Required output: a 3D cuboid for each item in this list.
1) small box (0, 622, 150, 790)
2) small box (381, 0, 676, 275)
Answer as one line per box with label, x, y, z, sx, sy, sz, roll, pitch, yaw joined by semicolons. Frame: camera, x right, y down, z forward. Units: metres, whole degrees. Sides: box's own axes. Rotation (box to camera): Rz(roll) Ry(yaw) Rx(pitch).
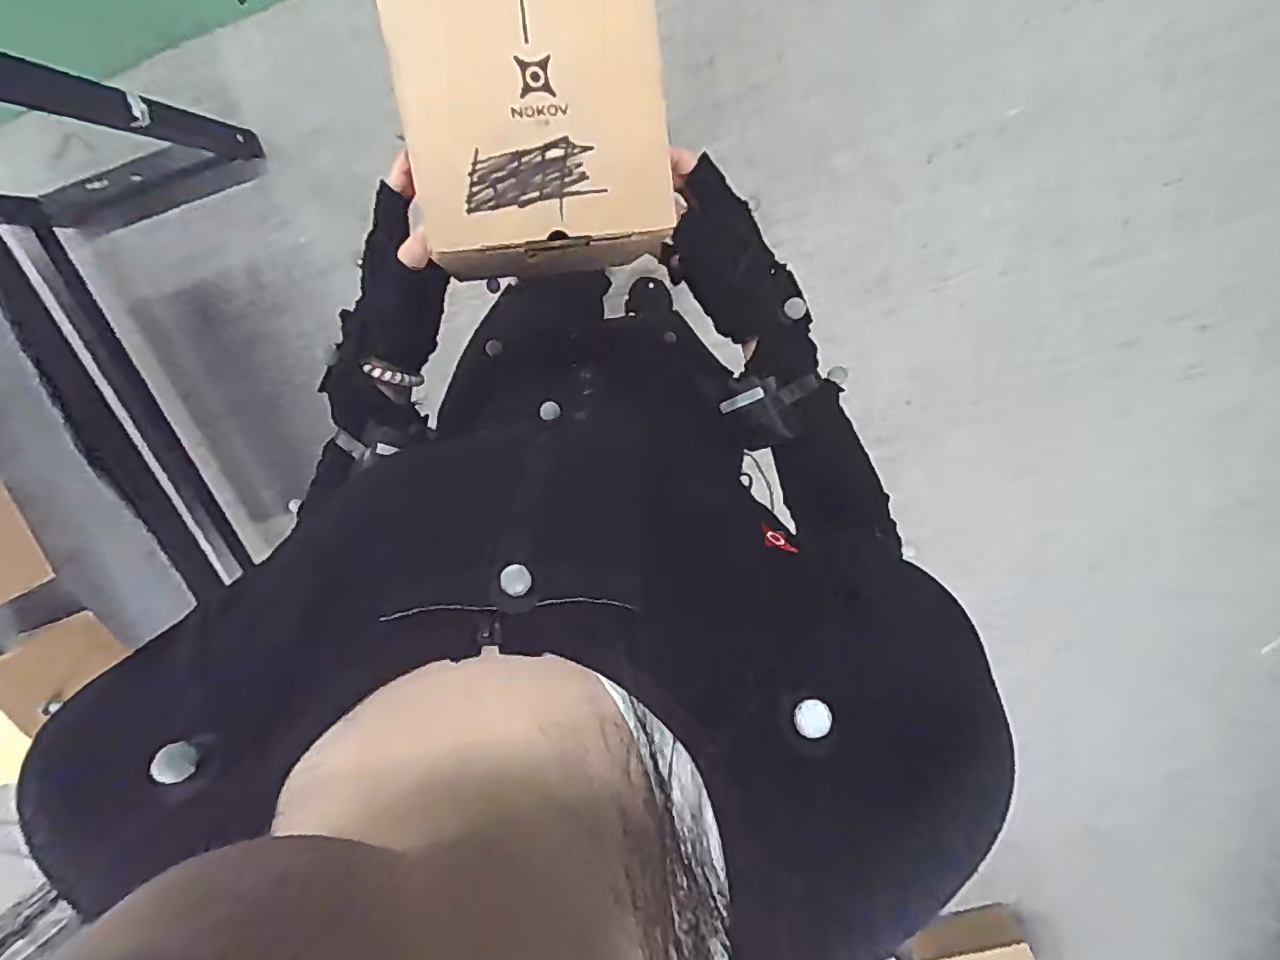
small box;-0.938;0.342;0.835;0.168;0.176;0.179;-19;109;9
small box;-0.079;-0.258;0.409;0.168;0.176;0.179;-10;105;-10
